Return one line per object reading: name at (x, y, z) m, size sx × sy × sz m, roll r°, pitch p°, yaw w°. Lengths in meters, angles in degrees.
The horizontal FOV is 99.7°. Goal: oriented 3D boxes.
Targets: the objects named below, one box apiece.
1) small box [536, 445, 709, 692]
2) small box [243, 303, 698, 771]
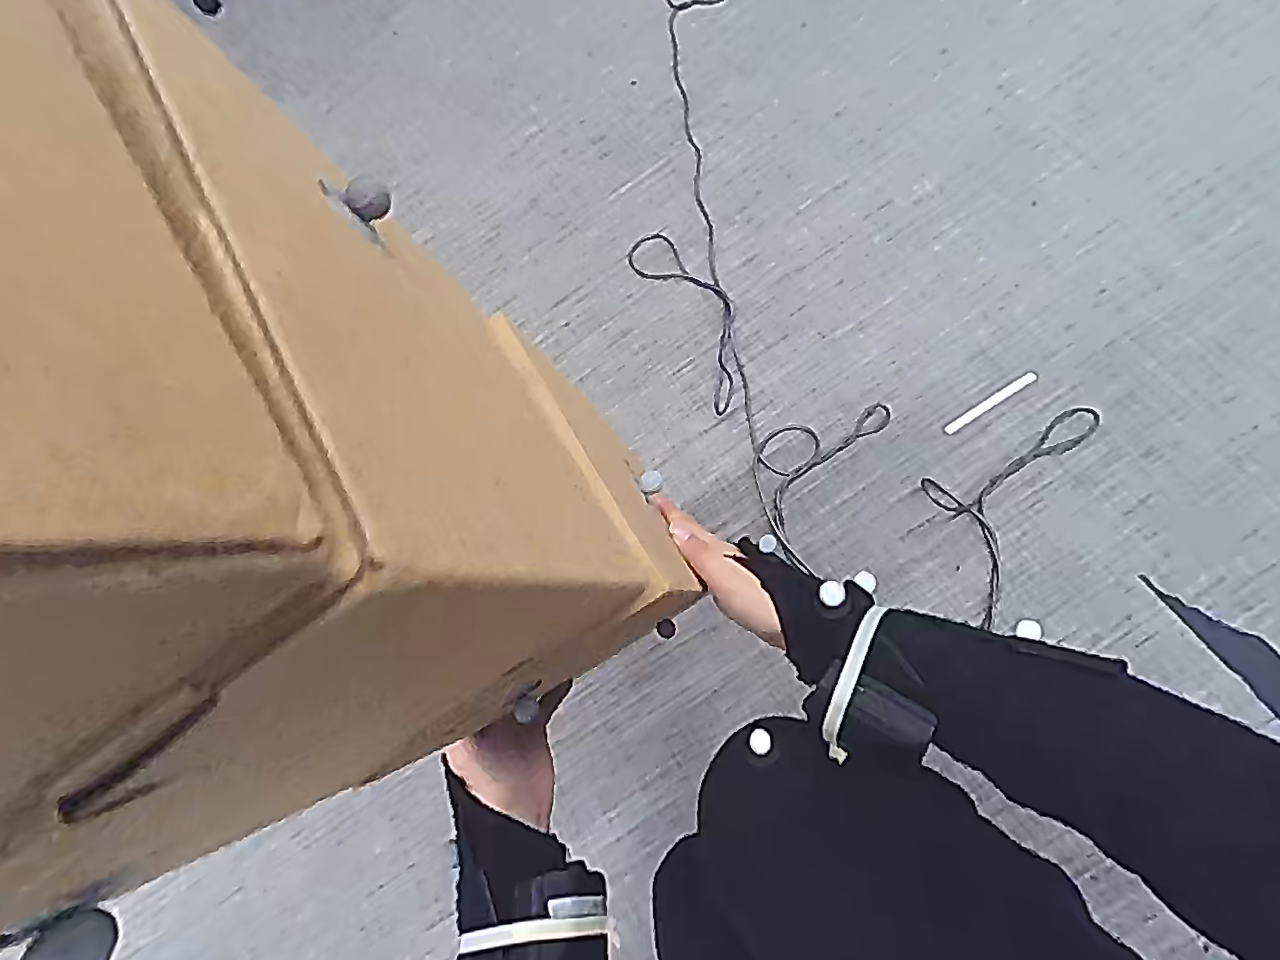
small box at (-0.050, 0.068, 0.491) m, size 0.179 × 0.176 × 0.168 m, roll -34°, pitch 73°, yaw 5°
small box at (-0.082, 0.037, 0.333) m, size 0.179 × 0.176 × 0.168 m, roll -33°, pitch 74°, yaw 4°
